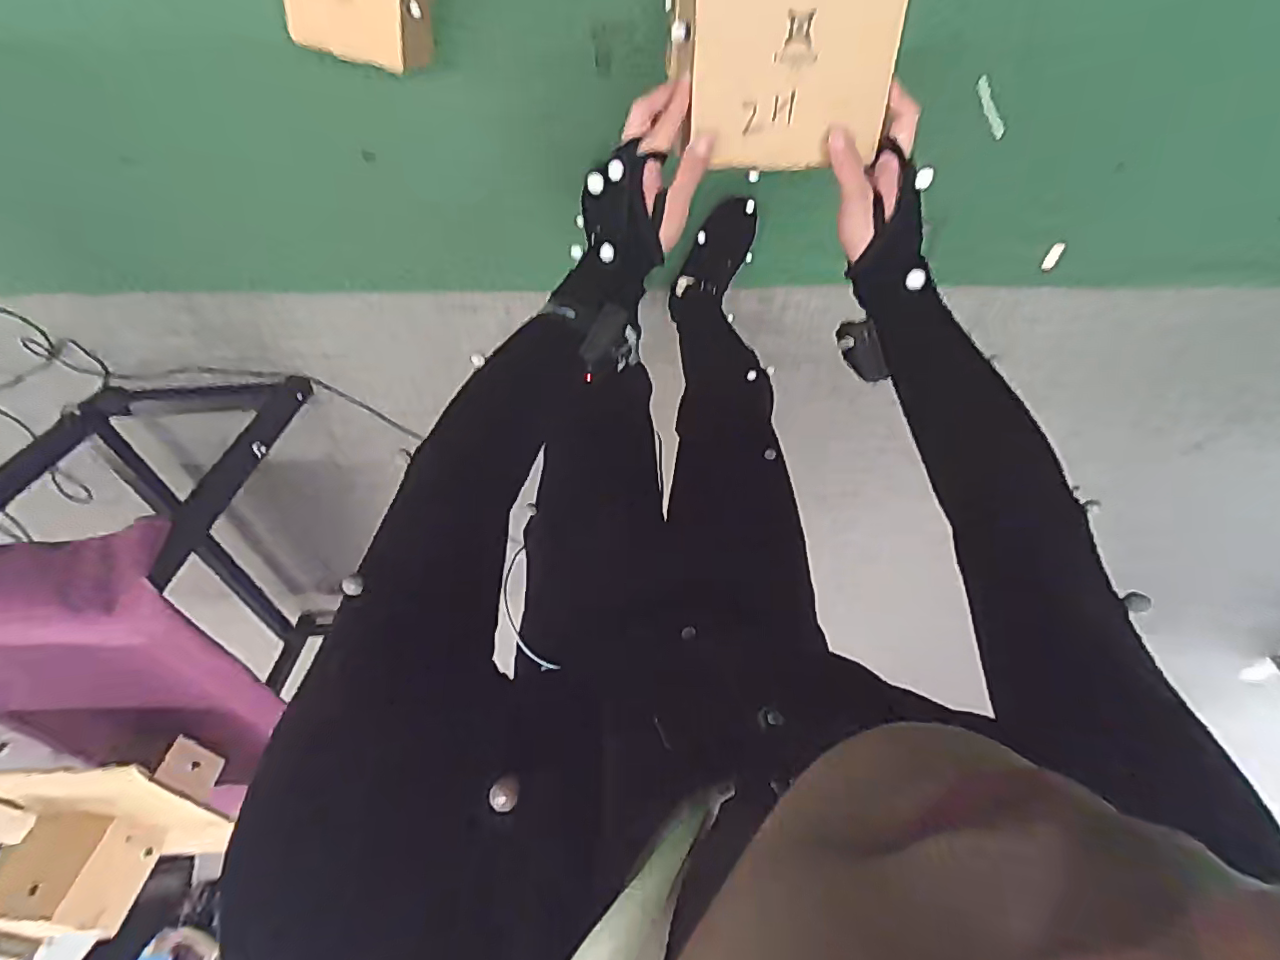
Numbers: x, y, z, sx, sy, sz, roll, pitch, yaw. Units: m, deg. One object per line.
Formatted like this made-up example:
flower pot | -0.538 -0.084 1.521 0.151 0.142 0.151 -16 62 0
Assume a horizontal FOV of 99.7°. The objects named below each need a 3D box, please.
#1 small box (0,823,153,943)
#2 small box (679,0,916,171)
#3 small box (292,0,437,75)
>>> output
small box | -1.144 0.807 1.086 0.179 0.176 0.168 -3 131 4
small box | 0.125 -0.385 0.489 0.168 0.176 0.179 -1 124 -1
small box | -0.421 -0.769 0.840 0.168 0.176 0.179 11 133 -9
